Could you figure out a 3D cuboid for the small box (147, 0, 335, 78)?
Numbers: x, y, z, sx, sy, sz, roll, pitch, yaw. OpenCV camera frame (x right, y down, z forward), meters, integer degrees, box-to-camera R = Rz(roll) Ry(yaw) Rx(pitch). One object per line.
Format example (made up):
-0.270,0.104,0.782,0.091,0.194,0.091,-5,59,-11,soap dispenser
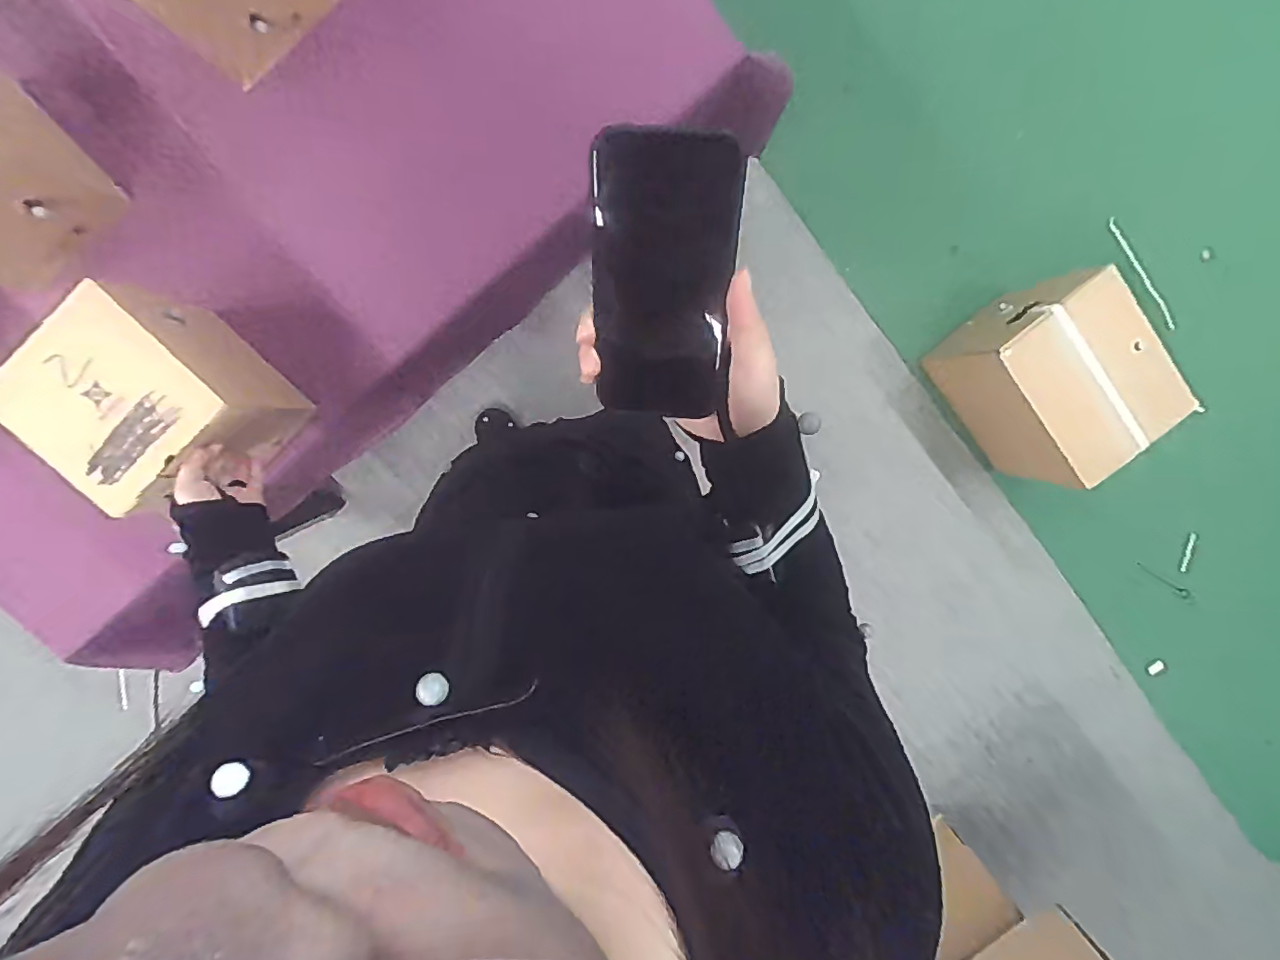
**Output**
-0.458,-0.568,0.543,0.168,0.176,0.179,-41,100,4,small box
